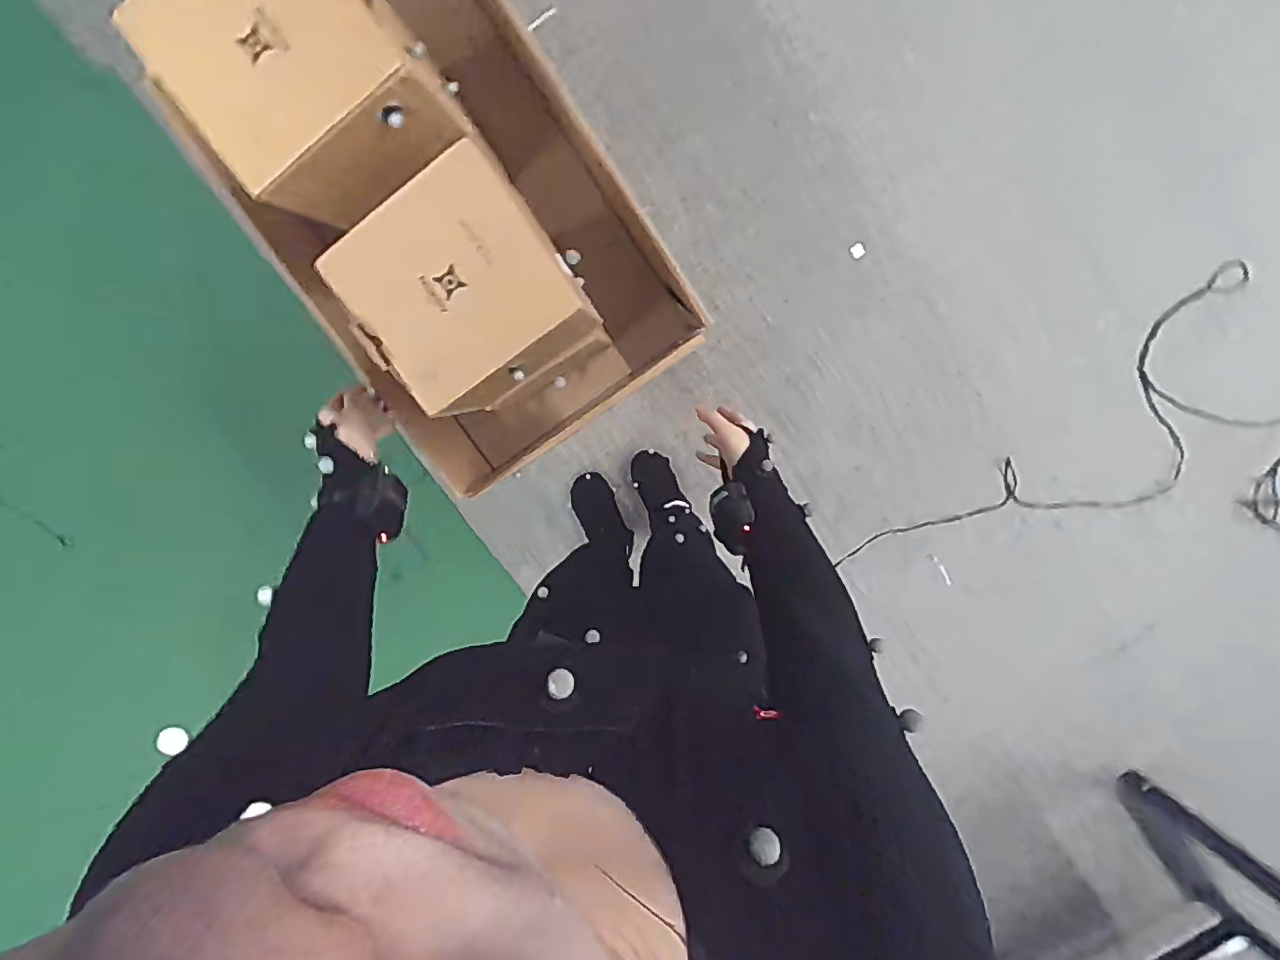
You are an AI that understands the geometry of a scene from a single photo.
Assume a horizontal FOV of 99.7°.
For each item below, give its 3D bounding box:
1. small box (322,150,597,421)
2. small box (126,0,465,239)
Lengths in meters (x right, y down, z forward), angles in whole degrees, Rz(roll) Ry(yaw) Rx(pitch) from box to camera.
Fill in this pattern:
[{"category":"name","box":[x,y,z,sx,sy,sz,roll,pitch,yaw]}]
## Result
[{"category":"small box","box":[-0.162,-0.179,0.551,0.179,0.176,0.168,-35,99,8]},{"category":"small box","box":[-0.303,-0.364,0.519,0.179,0.176,0.168,-35,100,8]}]
